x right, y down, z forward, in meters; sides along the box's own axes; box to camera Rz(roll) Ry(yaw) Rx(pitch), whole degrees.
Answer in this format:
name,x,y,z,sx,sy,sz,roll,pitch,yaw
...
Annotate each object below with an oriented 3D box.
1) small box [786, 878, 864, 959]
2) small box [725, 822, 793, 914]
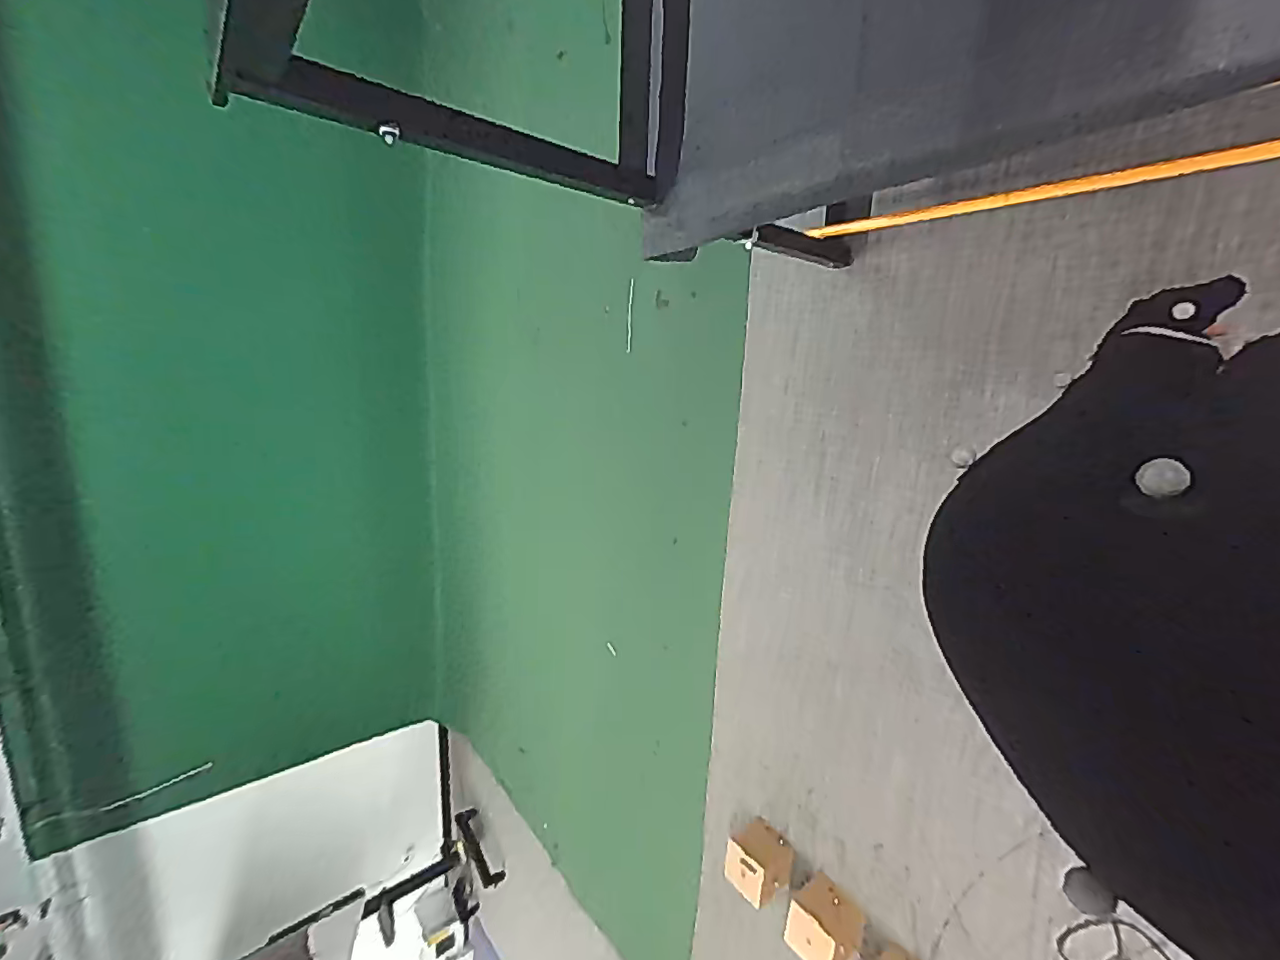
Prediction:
name,x,y,z,sx,sy,sz,roll,pitch,yaw
small box,0.603,1.460,1.757,0.168,0.176,0.179,20,110,48
small box,0.434,1.390,1.955,0.168,0.176,0.179,19,110,48
